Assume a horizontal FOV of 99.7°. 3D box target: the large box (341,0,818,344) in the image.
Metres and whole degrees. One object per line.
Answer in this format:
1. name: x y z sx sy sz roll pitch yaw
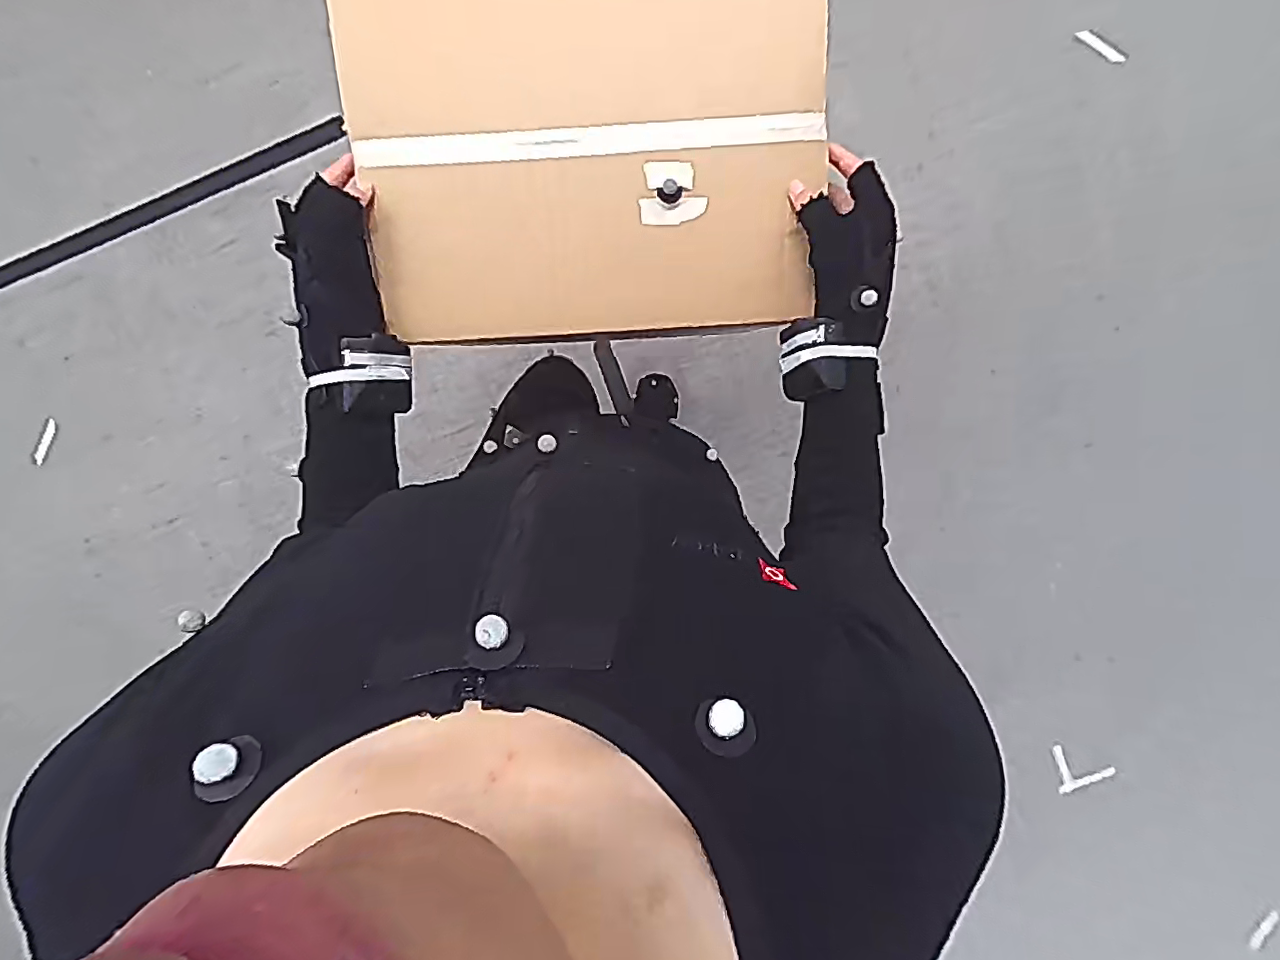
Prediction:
1. large box: -0.047 -0.335 0.620 0.408 0.320 0.320 -4 104 0
